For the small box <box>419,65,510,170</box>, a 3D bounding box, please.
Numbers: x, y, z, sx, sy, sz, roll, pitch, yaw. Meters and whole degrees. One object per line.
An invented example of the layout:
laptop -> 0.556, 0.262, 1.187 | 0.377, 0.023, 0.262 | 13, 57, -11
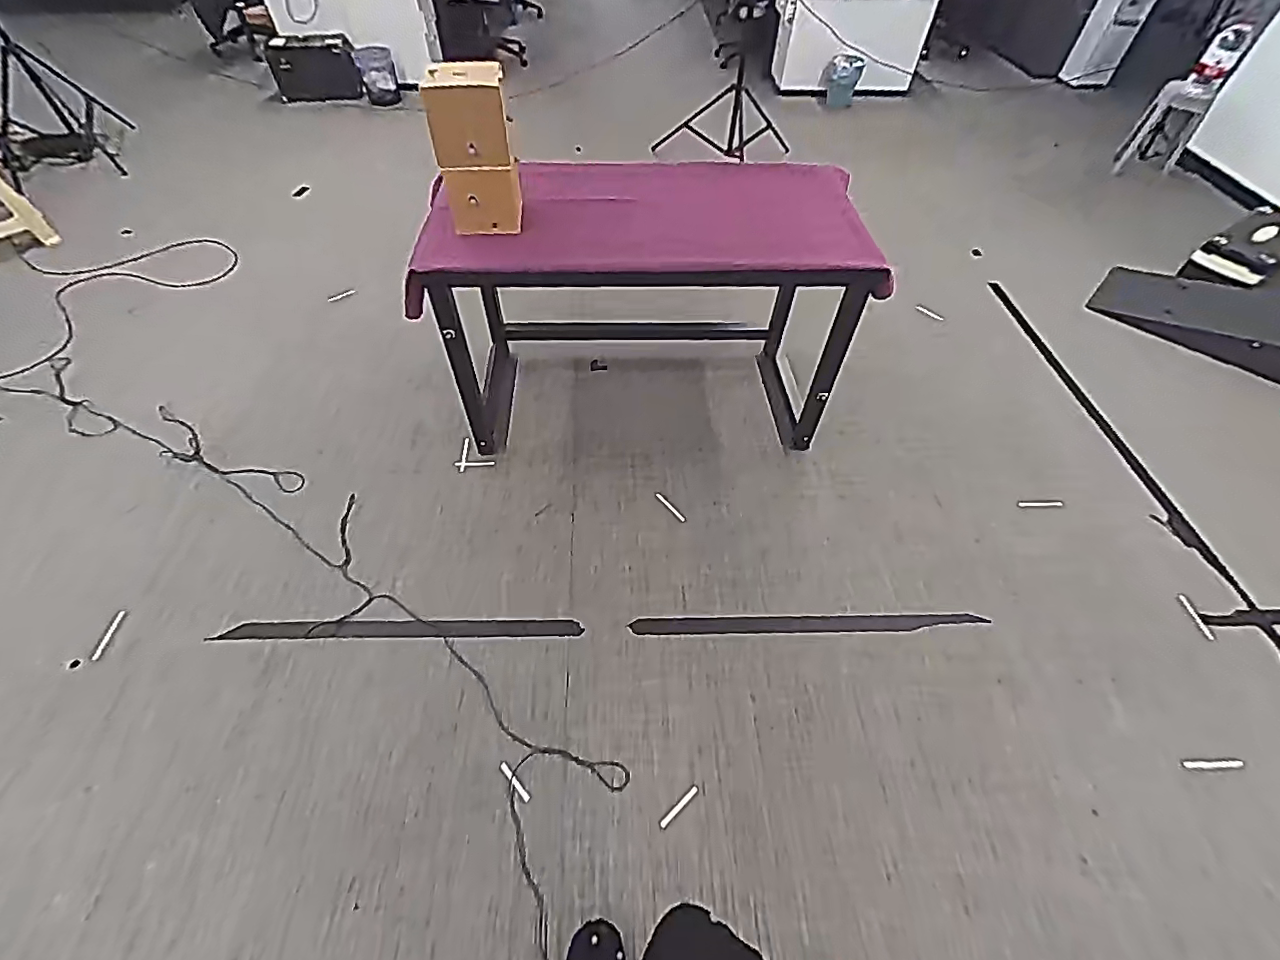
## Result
small box -> -0.411, -0.867, 1.298 | 0.179, 0.176, 0.168 | -5, 52, -7

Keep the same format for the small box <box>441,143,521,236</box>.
small box -> -0.409, -0.761, 1.423 | 0.168, 0.176, 0.179 | -4, 52, -5
